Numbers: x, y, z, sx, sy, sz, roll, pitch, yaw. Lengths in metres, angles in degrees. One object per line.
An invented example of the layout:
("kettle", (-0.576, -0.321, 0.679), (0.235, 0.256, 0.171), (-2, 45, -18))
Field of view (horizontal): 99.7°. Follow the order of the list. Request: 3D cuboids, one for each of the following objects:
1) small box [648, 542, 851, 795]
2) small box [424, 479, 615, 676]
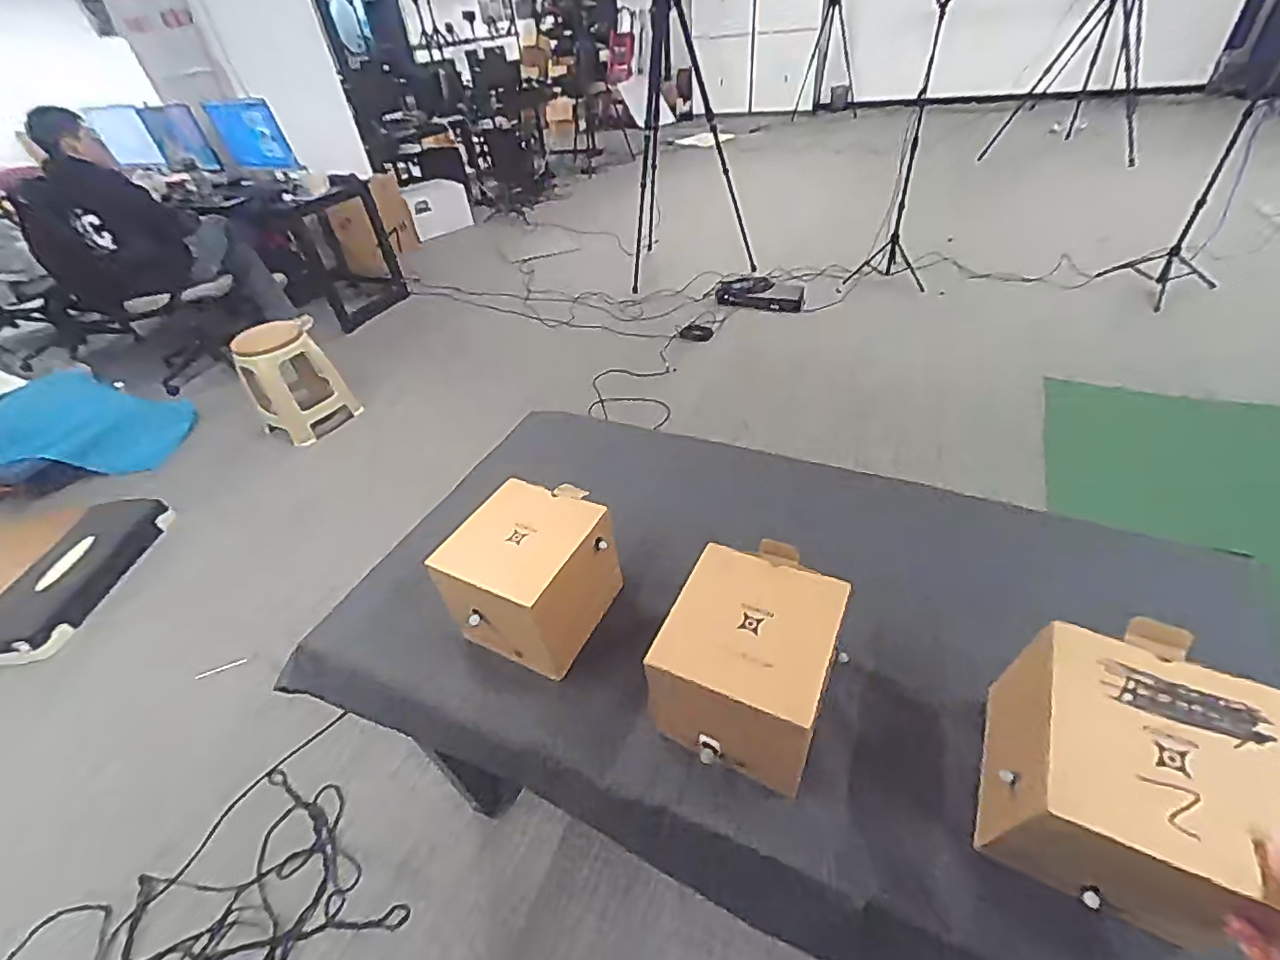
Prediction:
("small box", (0.122, 0.204, 0.603), (0.168, 0.176, 0.179), (14, 45, 24))
("small box", (-0.146, 0.130, 0.727), (0.168, 0.176, 0.179), (15, 44, 23))
